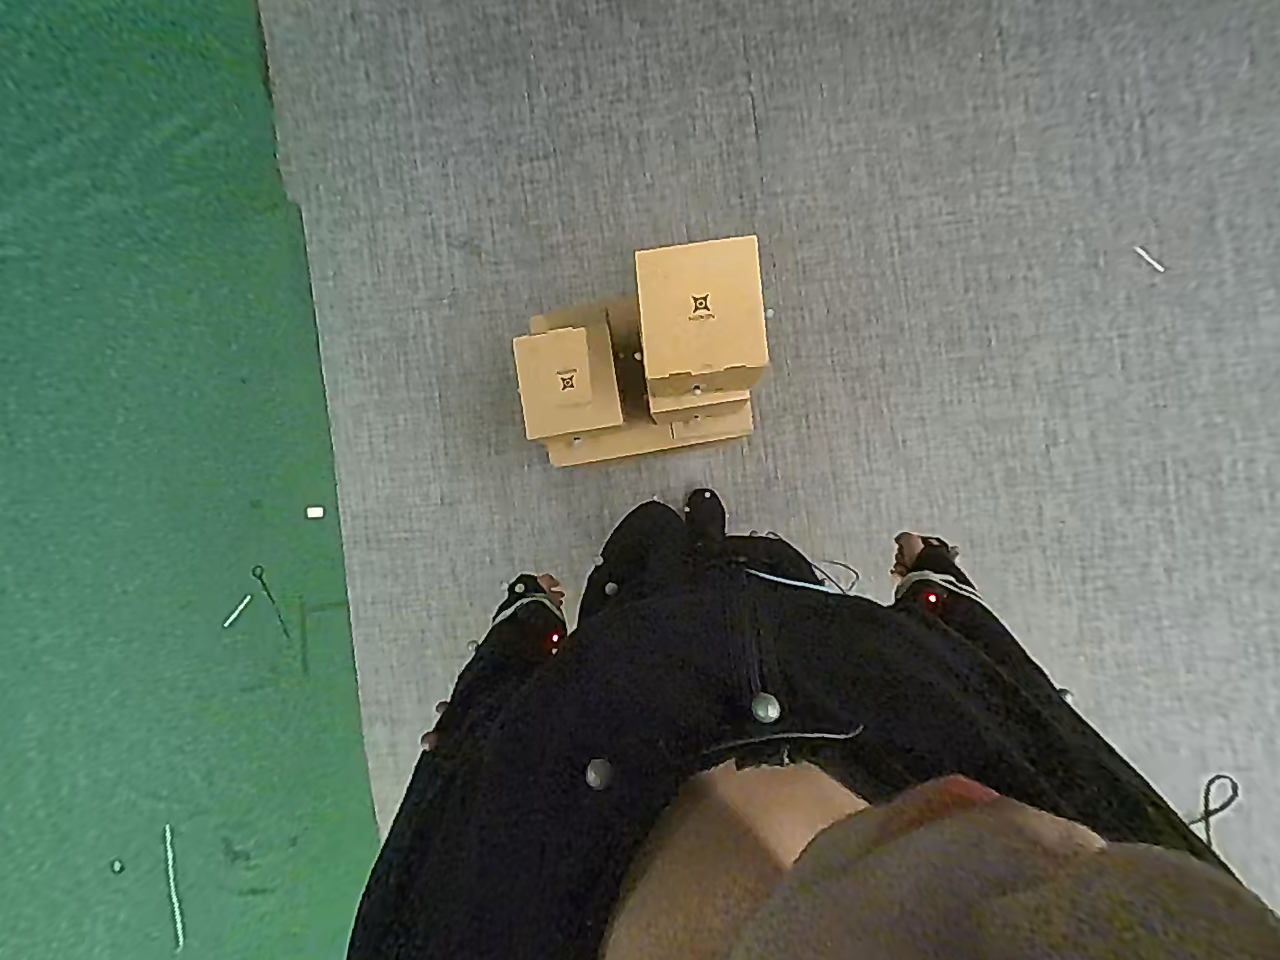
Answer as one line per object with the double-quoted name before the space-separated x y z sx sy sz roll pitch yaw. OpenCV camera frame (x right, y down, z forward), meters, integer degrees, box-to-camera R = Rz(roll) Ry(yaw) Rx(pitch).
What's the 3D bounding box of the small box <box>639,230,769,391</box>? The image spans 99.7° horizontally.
"small box" 0.091 -0.240 0.802 0.168 0.176 0.179 -5 89 5
